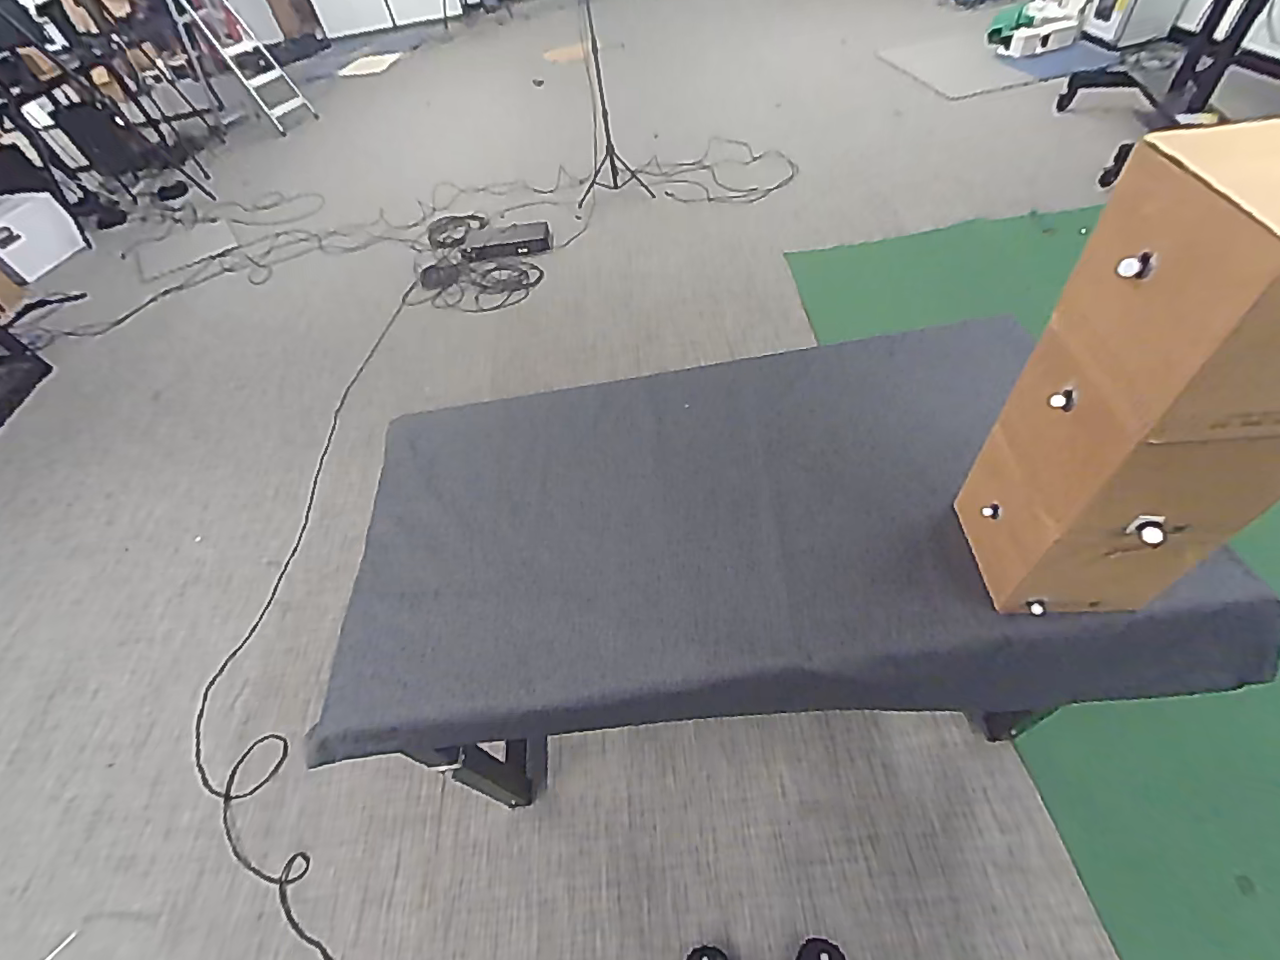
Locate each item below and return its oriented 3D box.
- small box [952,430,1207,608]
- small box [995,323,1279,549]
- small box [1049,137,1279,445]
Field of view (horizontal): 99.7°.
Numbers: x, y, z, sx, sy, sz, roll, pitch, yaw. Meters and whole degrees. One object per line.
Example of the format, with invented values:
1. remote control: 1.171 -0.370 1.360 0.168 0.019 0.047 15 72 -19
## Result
1. small box: 0.527 0.051 0.681 0.168 0.176 0.179 -3 50 8
2. small box: 0.503 -0.048 0.555 0.168 0.176 0.179 -3 51 9
3. small box: 0.474 -0.148 0.429 0.168 0.176 0.179 -3 49 9
